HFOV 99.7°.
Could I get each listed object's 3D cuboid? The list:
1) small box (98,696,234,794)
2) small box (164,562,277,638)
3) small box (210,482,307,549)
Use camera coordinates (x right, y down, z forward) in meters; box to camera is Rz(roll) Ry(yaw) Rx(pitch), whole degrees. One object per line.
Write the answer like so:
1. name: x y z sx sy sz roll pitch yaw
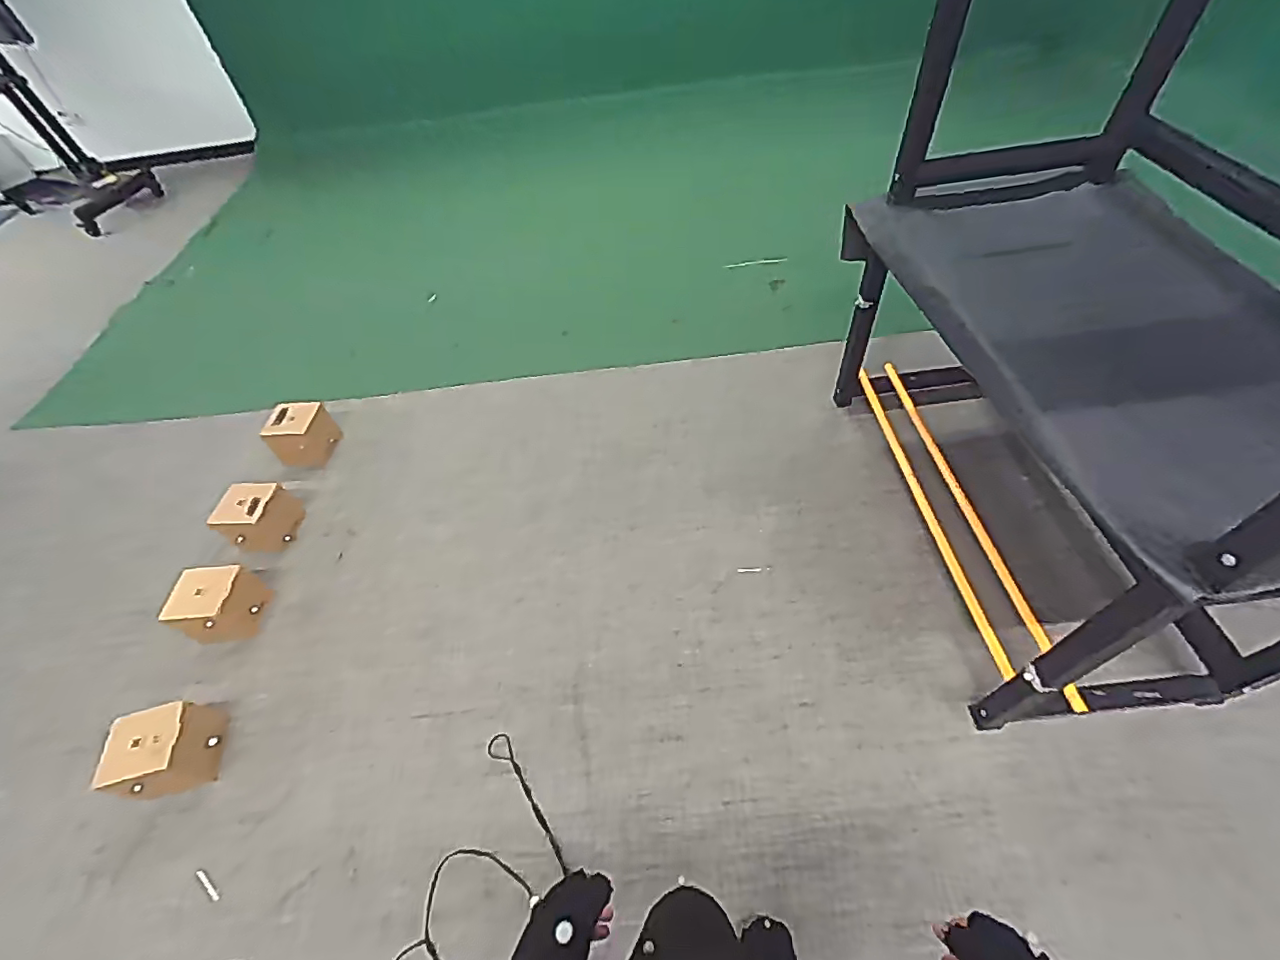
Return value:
1. small box: -1.196 0.680 1.379 0.179 0.176 0.168 -15 53 -5
2. small box: -1.256 0.367 1.632 0.179 0.176 0.168 -5 52 2
3. small box: -1.277 0.121 1.826 0.179 0.176 0.168 -1 51 7
